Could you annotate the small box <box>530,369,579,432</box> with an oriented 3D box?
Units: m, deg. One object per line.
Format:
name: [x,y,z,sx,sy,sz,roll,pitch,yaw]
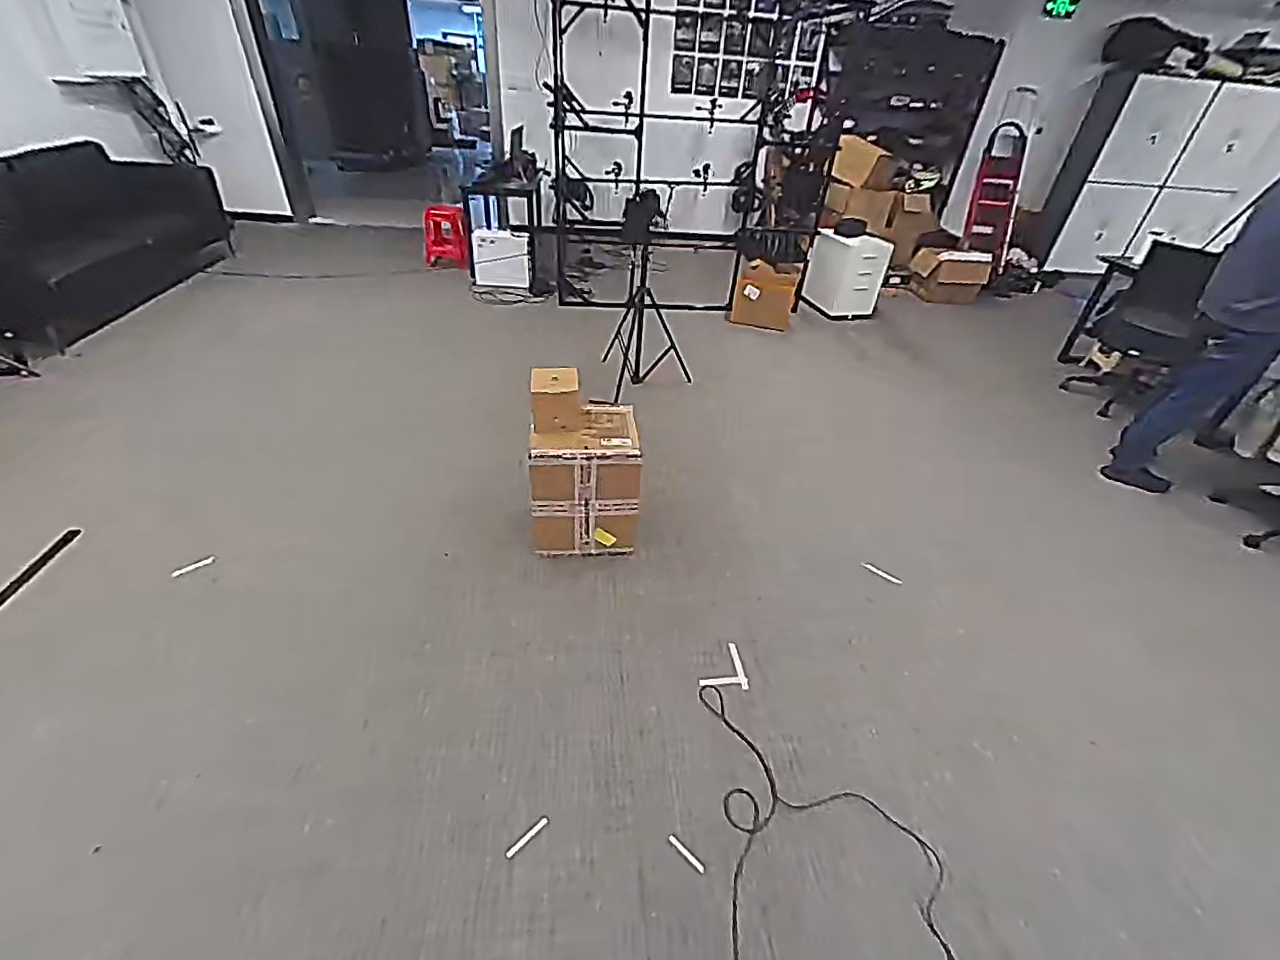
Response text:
small box: [-0.308,-0.290,1.967,0.168,0.176,0.179,-3,40,-7]
